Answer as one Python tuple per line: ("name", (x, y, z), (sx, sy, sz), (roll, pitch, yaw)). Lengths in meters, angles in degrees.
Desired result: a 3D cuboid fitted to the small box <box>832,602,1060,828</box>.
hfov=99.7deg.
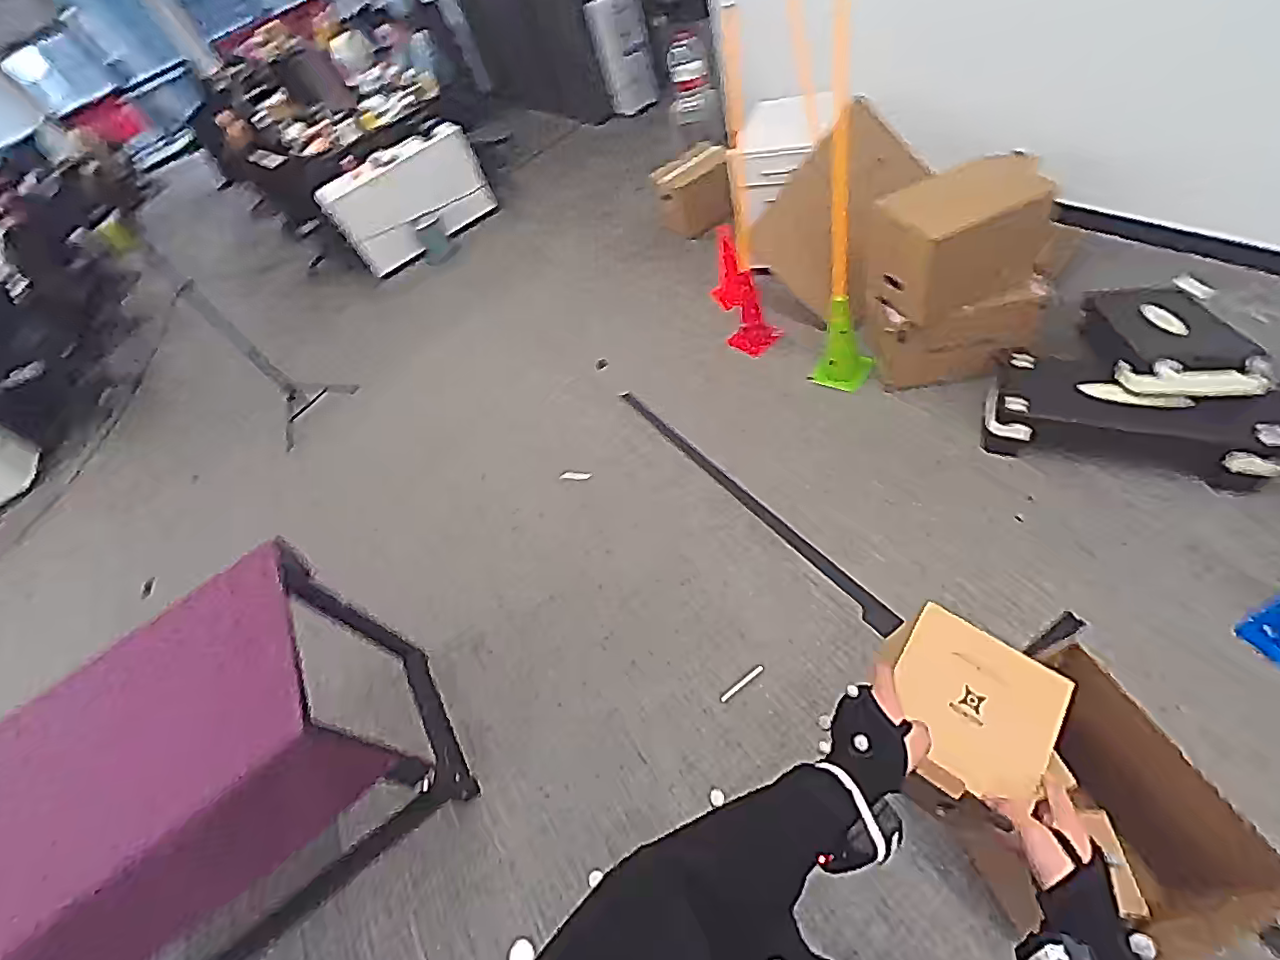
("small box", (0.353, 0.288, 0.657), (0.168, 0.176, 0.179), (31, 64, 21))
